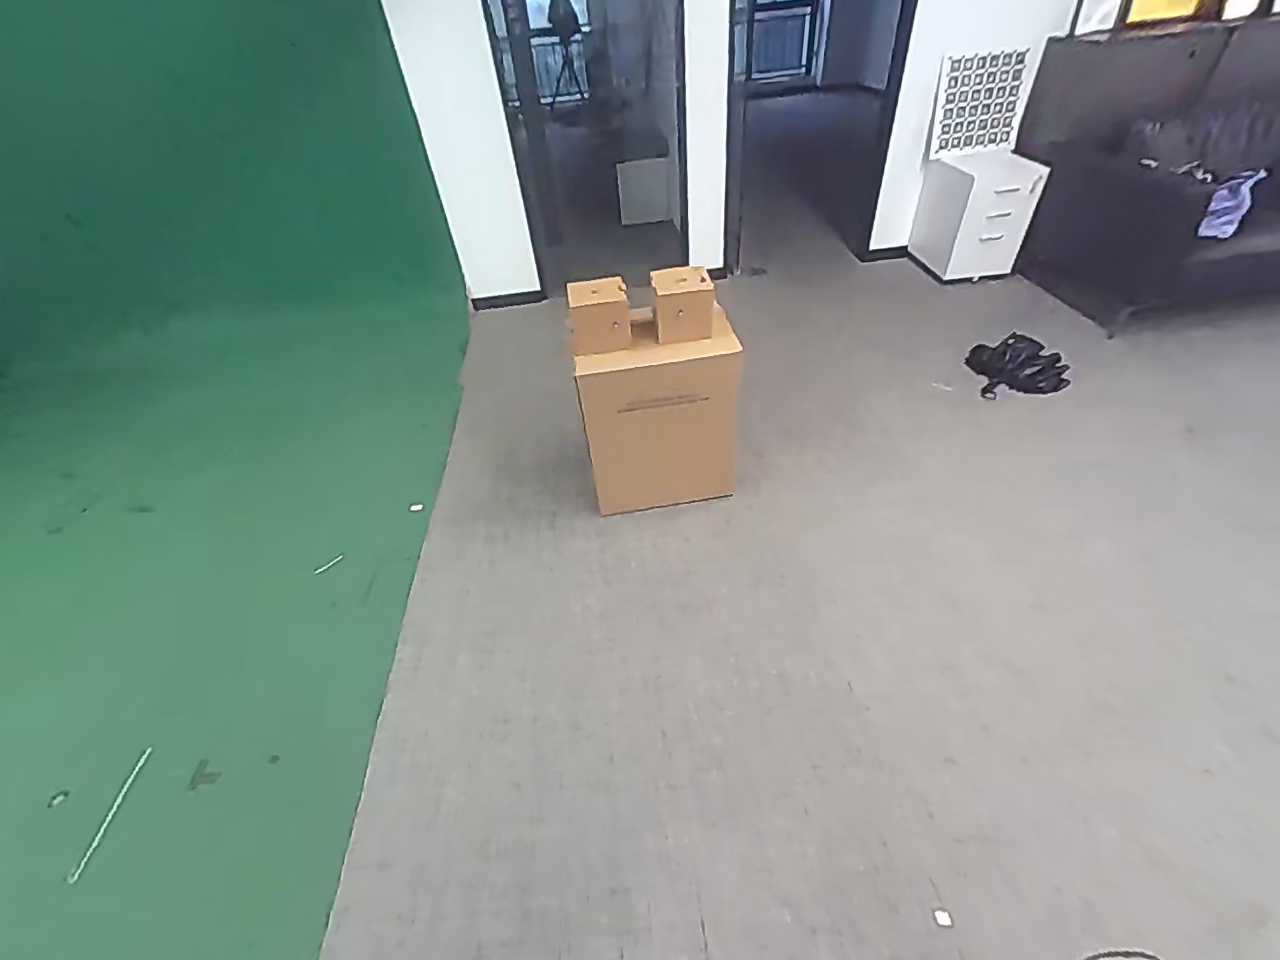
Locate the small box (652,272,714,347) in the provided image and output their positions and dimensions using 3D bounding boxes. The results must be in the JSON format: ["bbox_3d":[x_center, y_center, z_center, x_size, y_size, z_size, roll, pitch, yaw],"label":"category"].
[{"bbox_3d":[0.138,-0.543,1.736,0.179,0.176,0.168,-8,46,-2],"label":"small box"}]

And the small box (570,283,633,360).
[{"bbox_3d":[-0.121,-0.504,1.723,0.179,0.176,0.168,-10,44,-3],"label":"small box"}]
